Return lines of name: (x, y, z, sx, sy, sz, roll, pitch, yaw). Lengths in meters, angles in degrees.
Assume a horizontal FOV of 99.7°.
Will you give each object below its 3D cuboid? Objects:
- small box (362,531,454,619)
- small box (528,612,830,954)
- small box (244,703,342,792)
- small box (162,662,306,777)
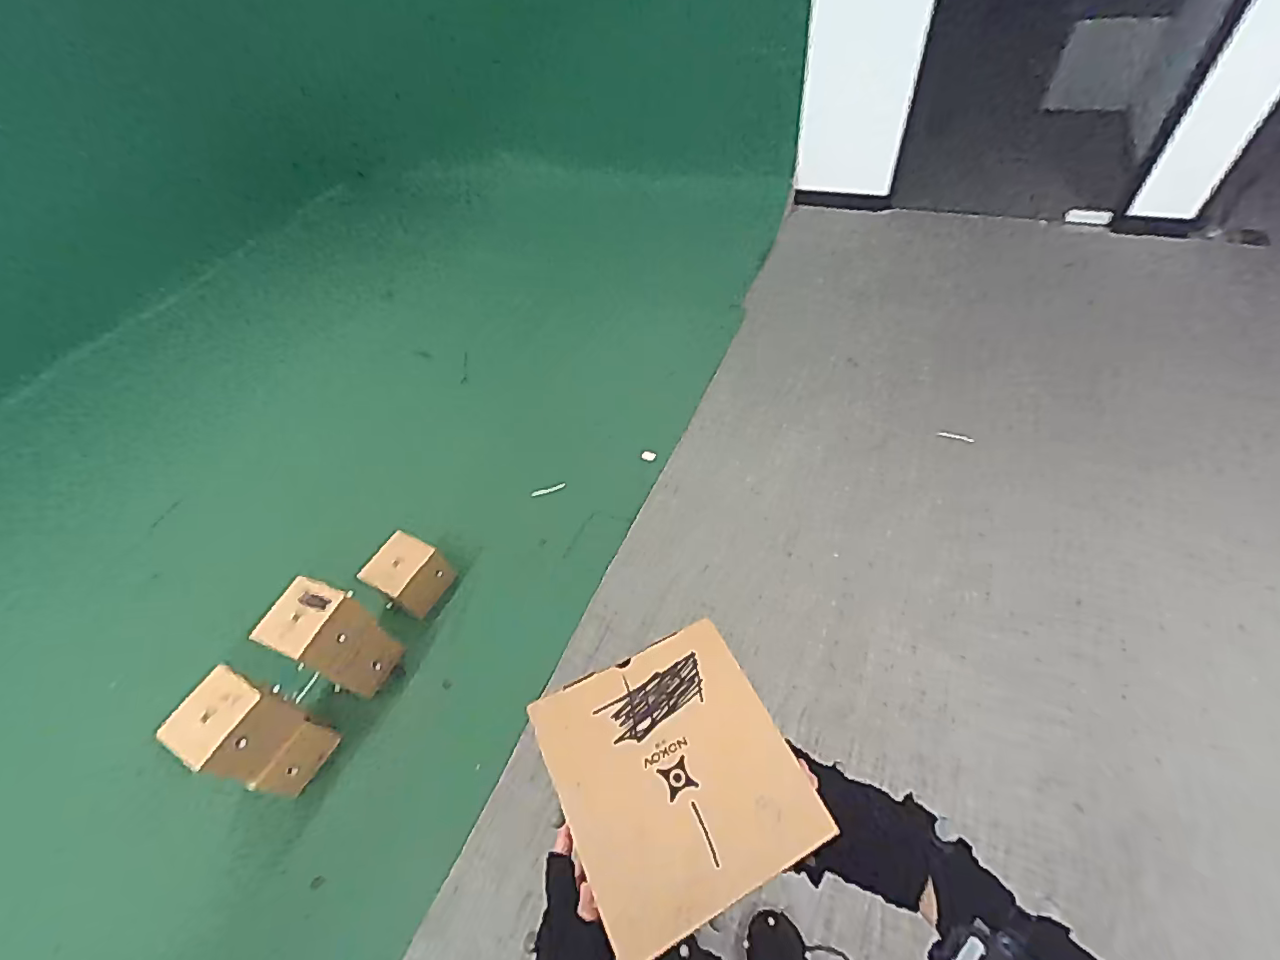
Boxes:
small box: (-0.697, 0.292, 1.658, 0.168, 0.176, 0.179, 20, 59, 23)
small box: (0.020, 0.248, 0.454, 0.168, 0.176, 0.179, -22, 55, -16)
small box: (-0.918, 0.678, 1.394, 0.179, 0.176, 0.168, 21, 59, 23)
small box: (-0.944, 0.568, 1.272, 0.168, 0.176, 0.179, 20, 59, 23)
